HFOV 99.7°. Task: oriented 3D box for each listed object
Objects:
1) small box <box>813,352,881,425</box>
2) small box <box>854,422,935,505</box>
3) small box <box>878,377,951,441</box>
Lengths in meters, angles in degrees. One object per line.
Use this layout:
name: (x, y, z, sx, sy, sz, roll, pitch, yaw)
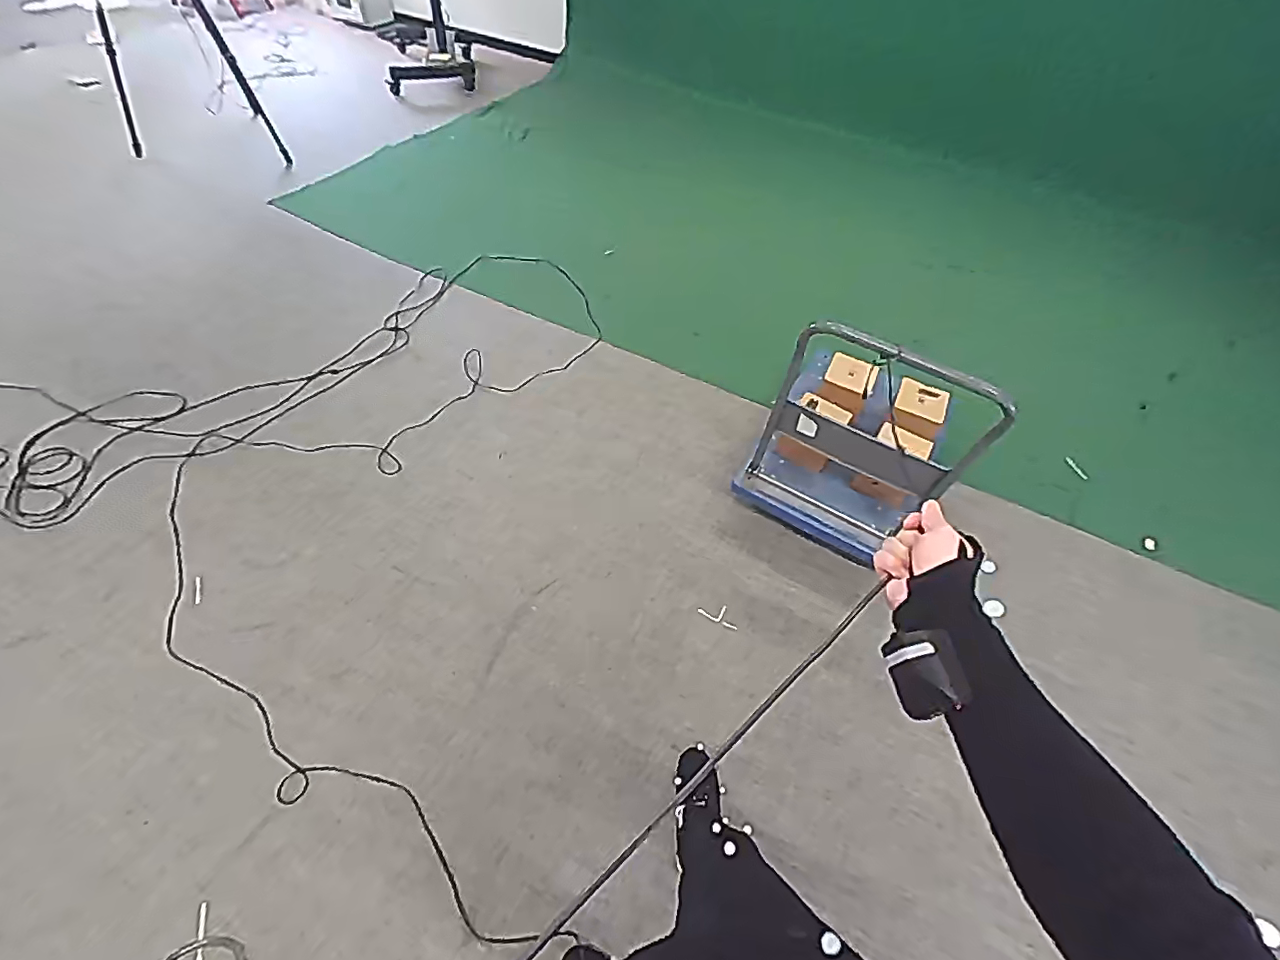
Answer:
small box: (0.757, -0.334, 1.996, 0.168, 0.176, 0.179, 26, 55, 13)
small box: (0.838, -0.054, 1.792, 0.168, 0.176, 0.179, 29, 57, 16)
small box: (0.980, -0.232, 1.937, 0.168, 0.176, 0.179, 25, 56, 14)
